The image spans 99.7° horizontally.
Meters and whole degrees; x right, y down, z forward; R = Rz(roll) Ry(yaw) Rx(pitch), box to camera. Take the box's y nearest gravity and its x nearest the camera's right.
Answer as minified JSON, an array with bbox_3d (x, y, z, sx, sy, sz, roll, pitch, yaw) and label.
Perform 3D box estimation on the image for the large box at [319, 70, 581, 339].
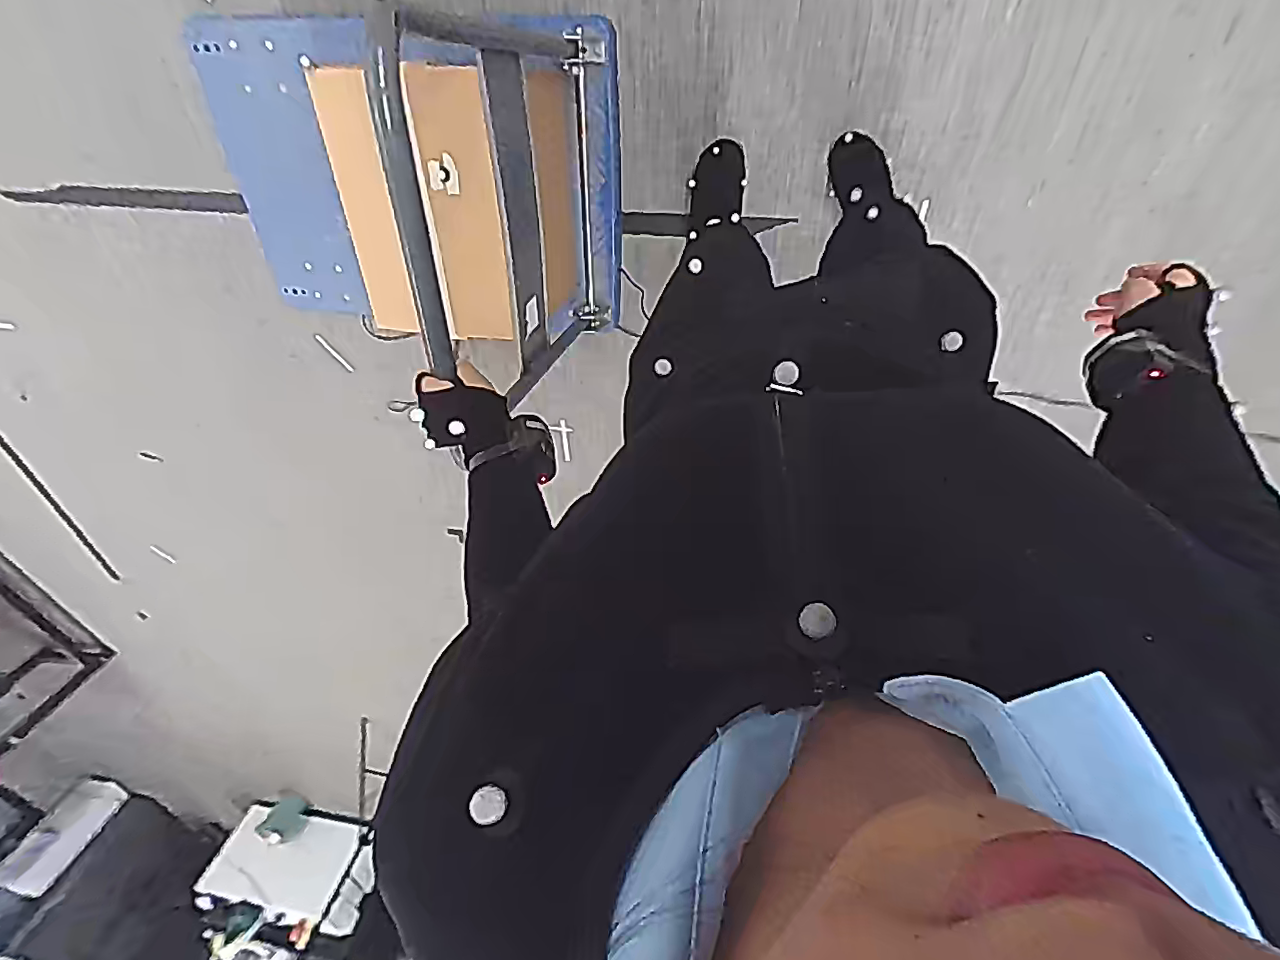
[{"bbox_3d":[-0.310,-0.520,1.029,0.320,0.320,0.408,6,126,8],"label":"large box"}]
